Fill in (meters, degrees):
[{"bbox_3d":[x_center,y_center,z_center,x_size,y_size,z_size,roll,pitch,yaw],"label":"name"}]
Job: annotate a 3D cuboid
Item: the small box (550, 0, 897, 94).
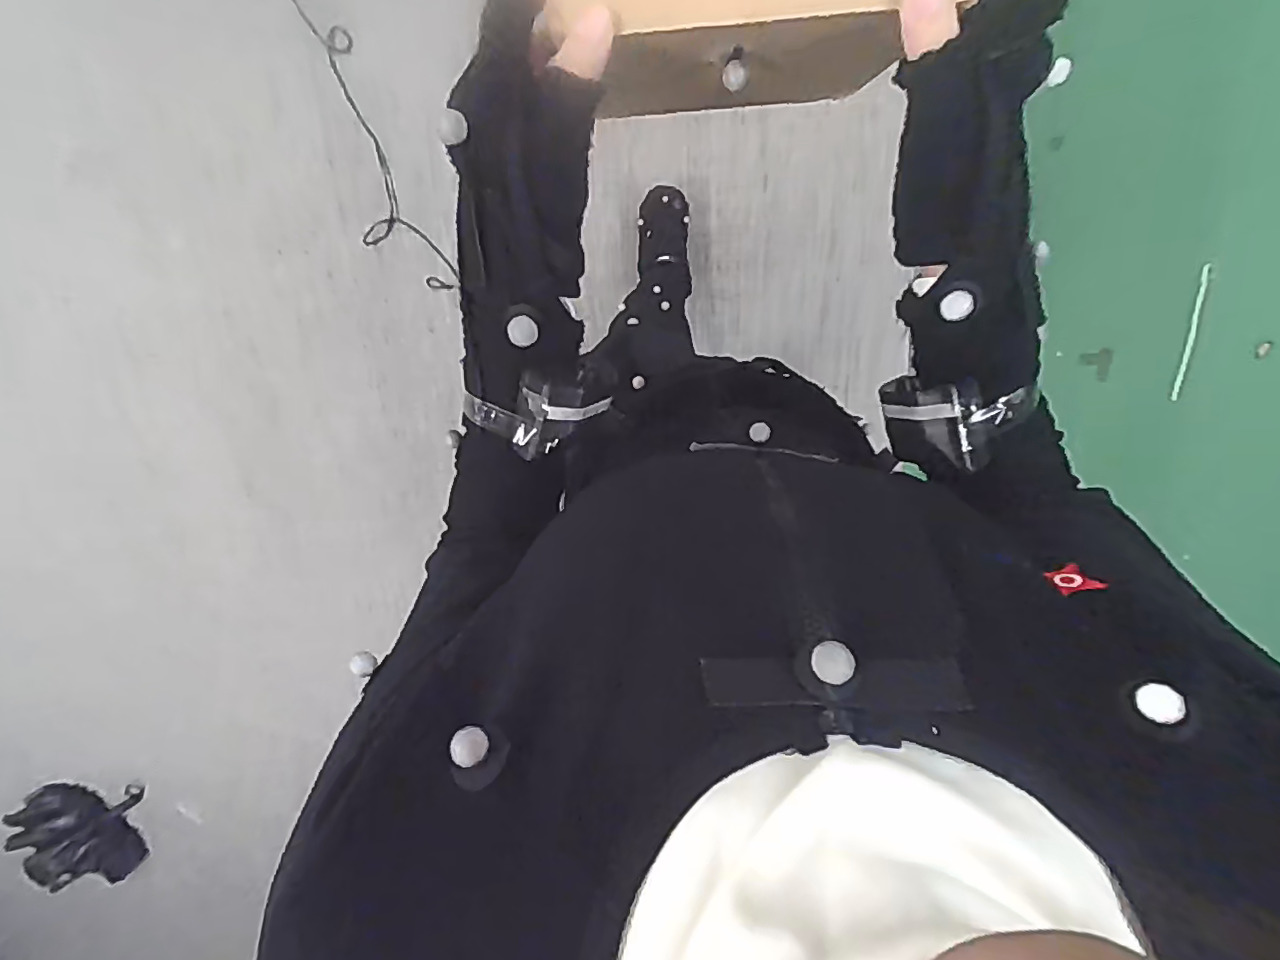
[{"bbox_3d":[0.044,-0.310,0.265,0.179,0.176,0.168,-2,114,3],"label":"small box"}]
